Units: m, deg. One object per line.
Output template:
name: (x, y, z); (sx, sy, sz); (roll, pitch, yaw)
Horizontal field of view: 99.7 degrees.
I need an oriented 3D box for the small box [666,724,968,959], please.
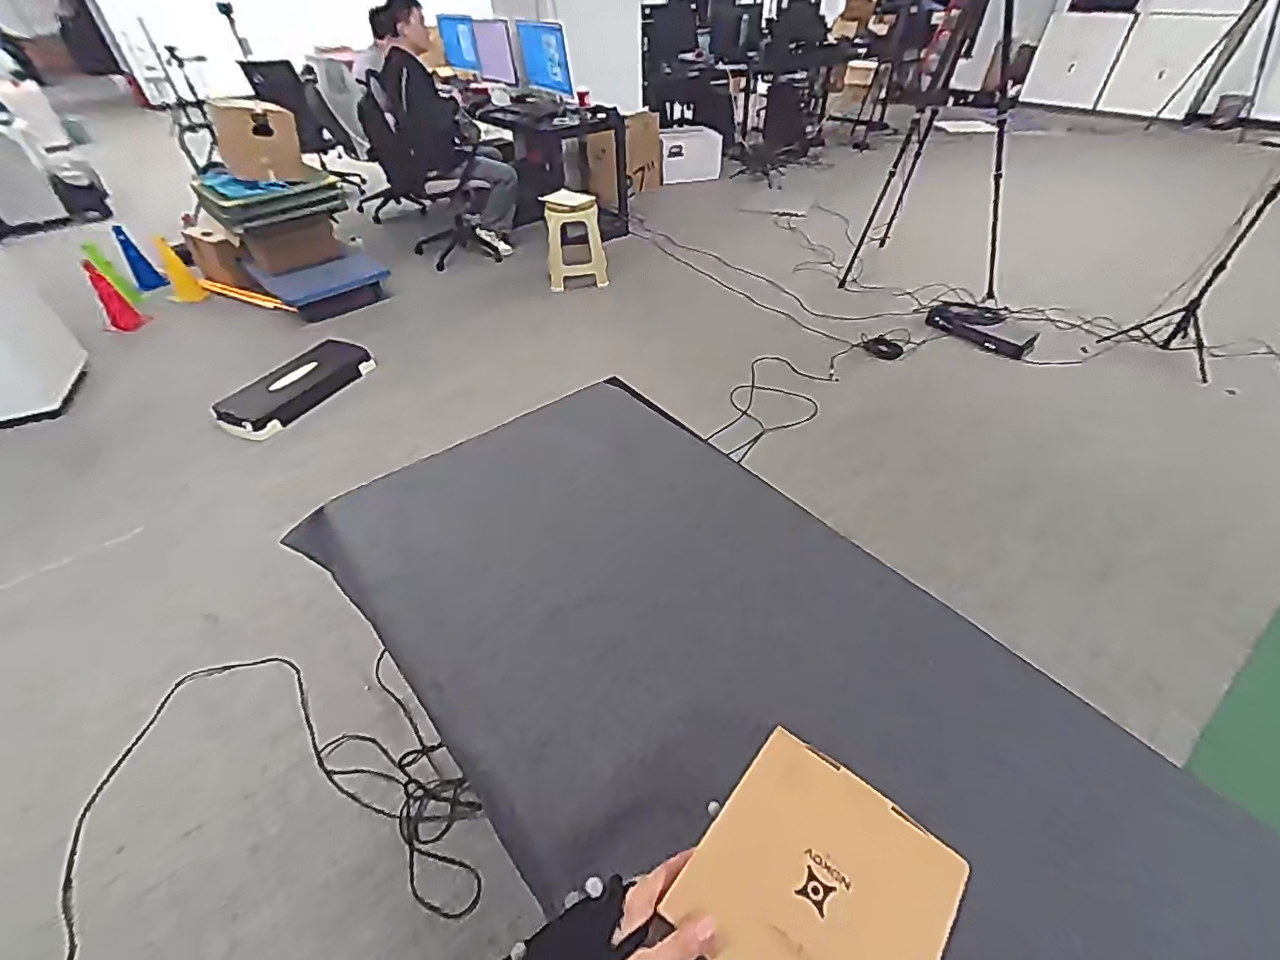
small box: (0.133, 0.354, 0.450); (0.168, 0.176, 0.179); (28, 50, 29)
